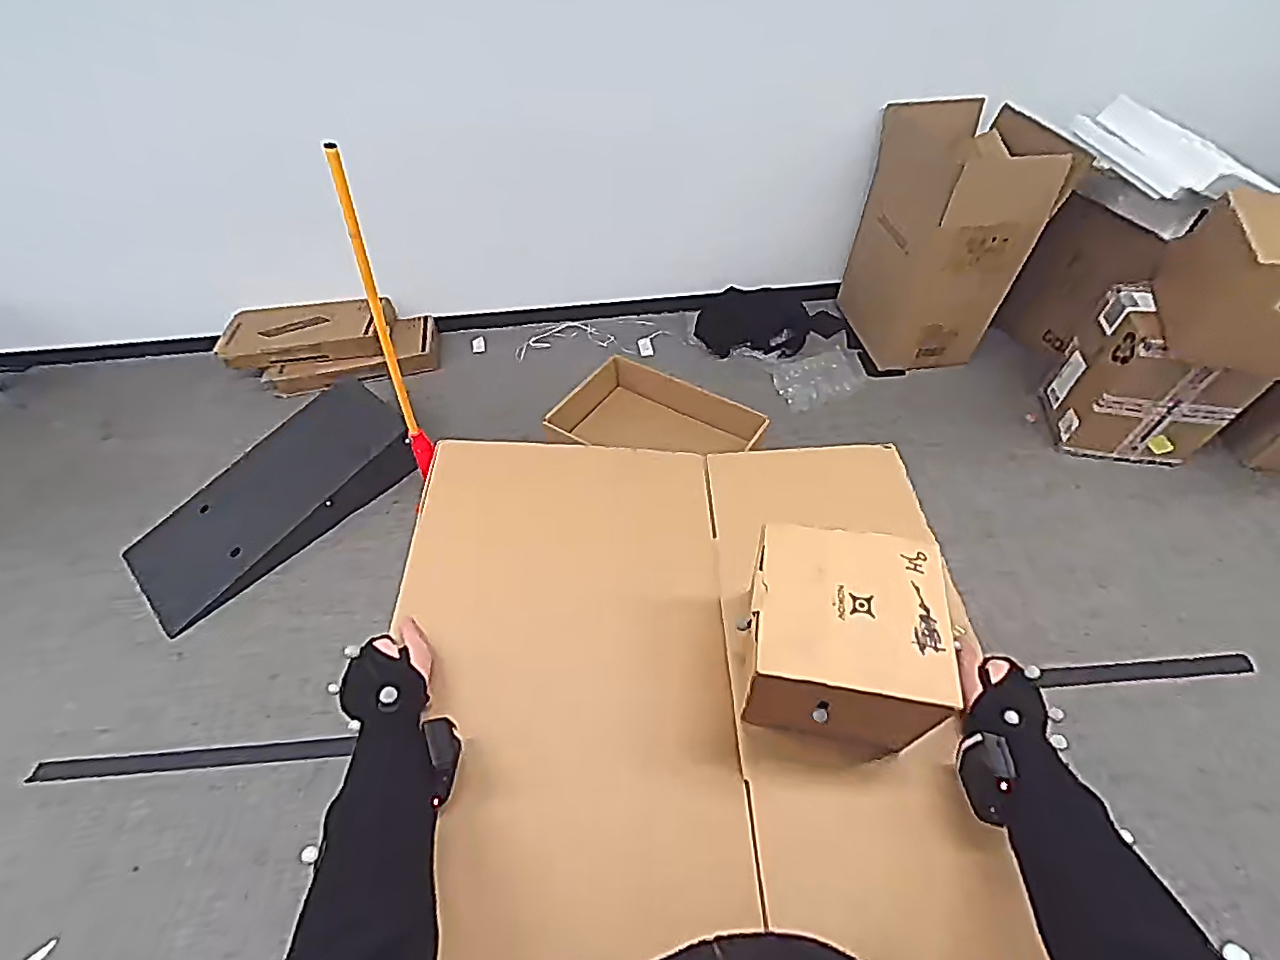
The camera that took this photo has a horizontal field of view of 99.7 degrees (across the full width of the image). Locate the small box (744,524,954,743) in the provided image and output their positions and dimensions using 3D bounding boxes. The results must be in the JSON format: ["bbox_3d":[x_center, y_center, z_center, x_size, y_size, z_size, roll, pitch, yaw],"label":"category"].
[{"bbox_3d":[0.209,0.169,0.587,0.179,0.176,0.168,6,53,11],"label":"small box"}]
